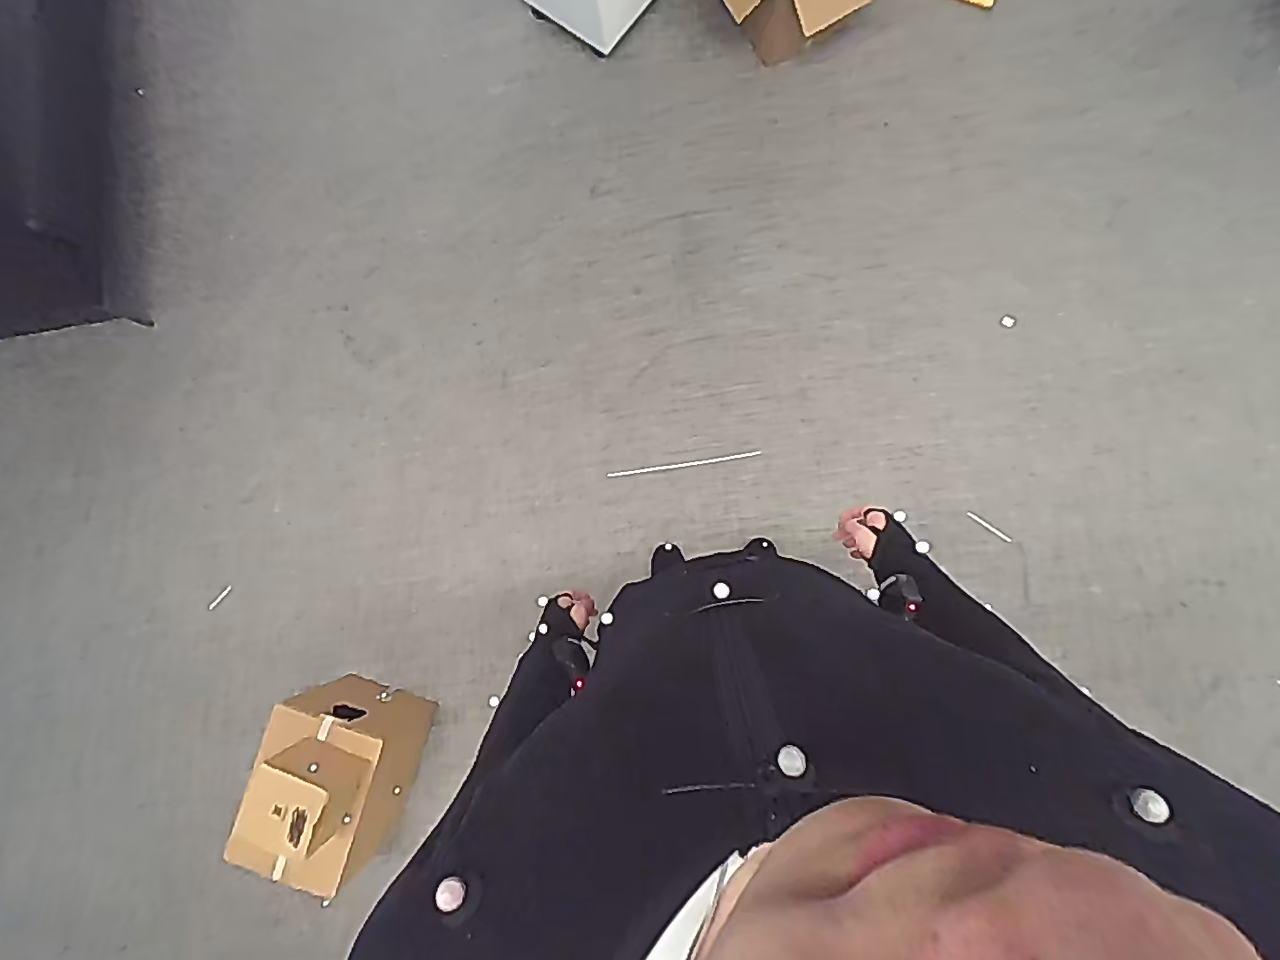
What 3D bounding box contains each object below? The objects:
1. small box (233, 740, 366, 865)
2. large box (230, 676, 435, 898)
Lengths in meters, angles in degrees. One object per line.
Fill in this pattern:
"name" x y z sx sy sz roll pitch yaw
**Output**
"small box" -0.782 0.740 1.263 0.179 0.176 0.168 19 85 5
"large box" -0.827 0.817 1.506 0.320 0.320 0.408 15 86 6
